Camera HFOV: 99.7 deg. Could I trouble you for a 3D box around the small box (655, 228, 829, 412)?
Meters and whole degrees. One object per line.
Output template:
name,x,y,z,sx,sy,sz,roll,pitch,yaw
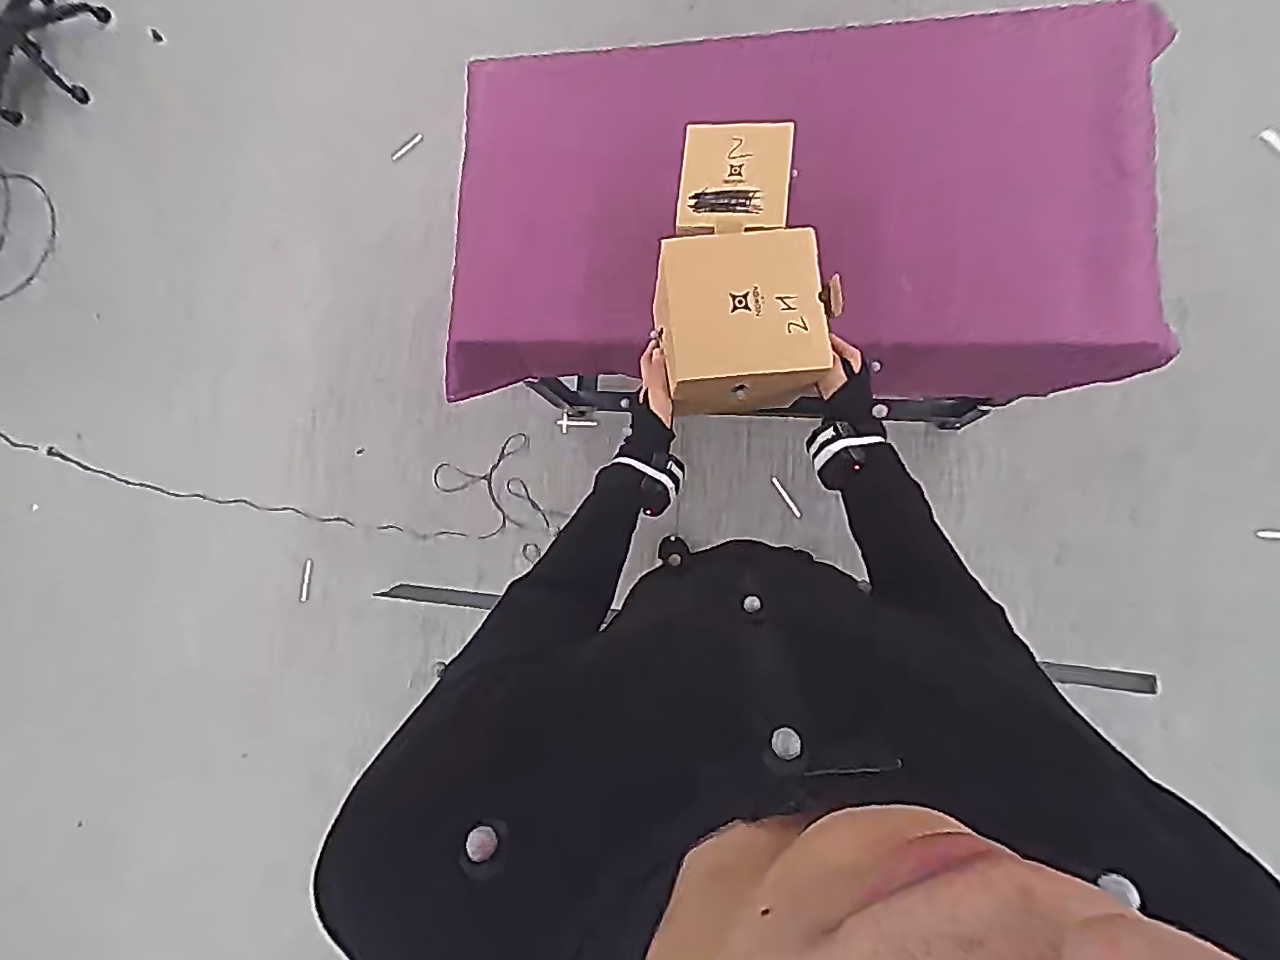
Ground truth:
small box,0.112,-0.186,0.673,0.179,0.176,0.168,-5,83,-3
